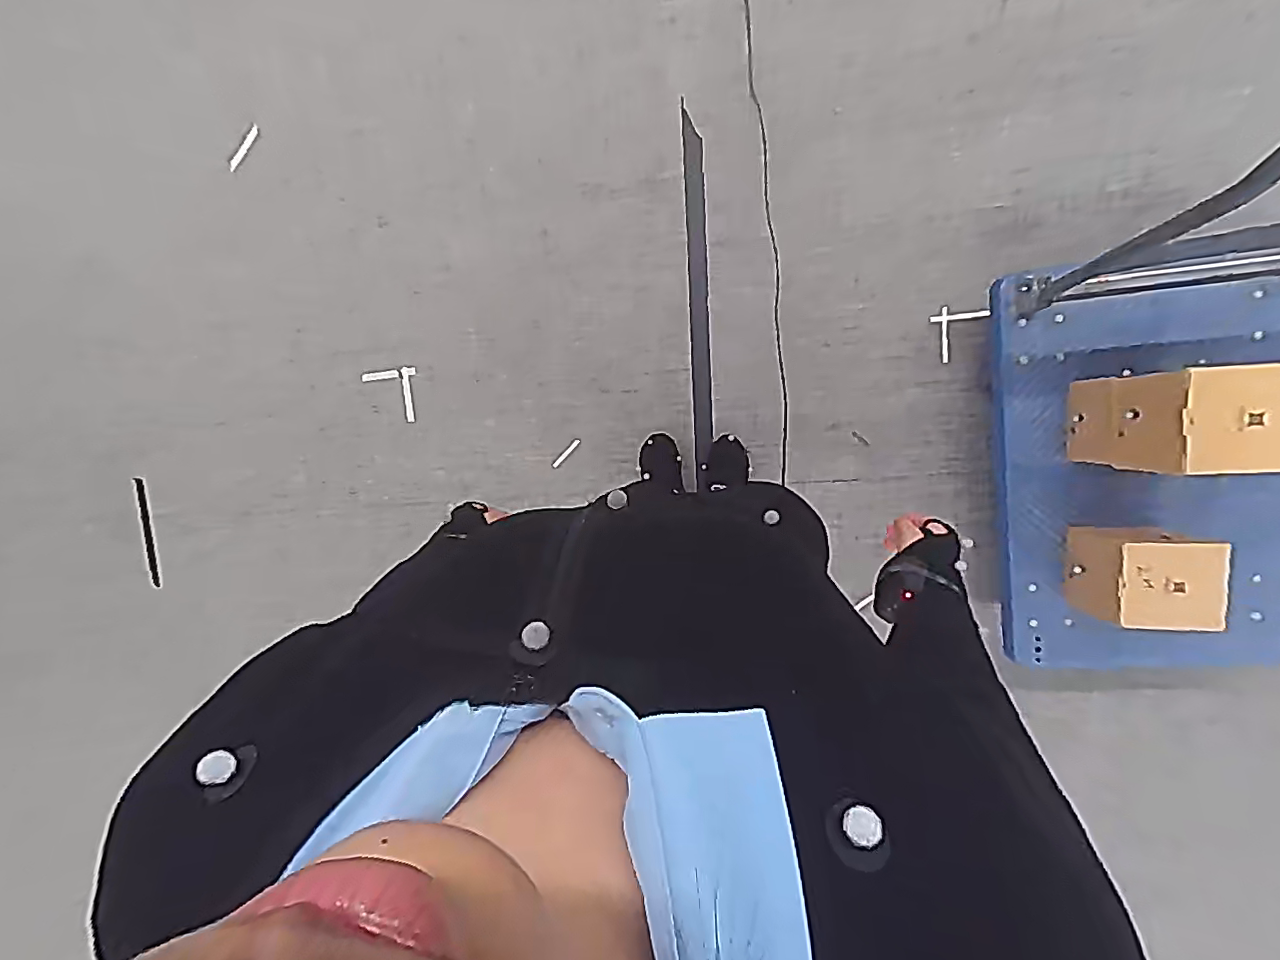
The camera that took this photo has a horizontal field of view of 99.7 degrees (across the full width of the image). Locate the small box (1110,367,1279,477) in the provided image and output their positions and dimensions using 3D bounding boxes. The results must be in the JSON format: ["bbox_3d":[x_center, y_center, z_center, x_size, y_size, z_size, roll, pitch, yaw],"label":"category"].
[{"bbox_3d":[0.939,-0.097,0.898,0.179,0.176,0.168,-2,95,10],"label":"small box"}]

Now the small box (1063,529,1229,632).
[{"bbox_3d":[0.999,0.192,1.081,0.179,0.176,0.168,0,95,9],"label":"small box"}]
